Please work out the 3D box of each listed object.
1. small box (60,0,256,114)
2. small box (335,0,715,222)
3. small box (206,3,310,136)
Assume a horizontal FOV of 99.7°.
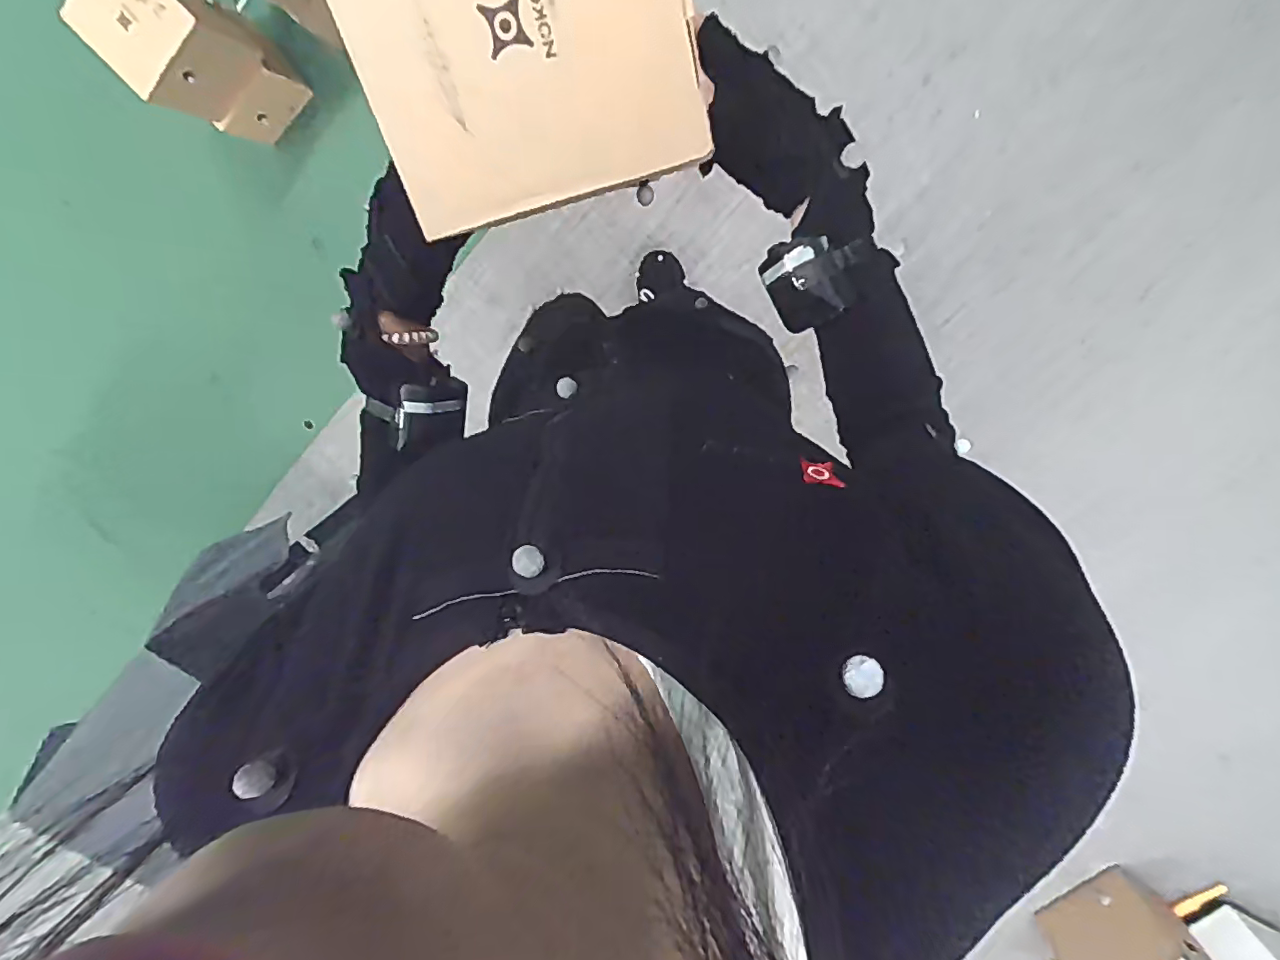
[{"bbox_3d":[-0.851,-0.808,0.974,0.179,0.176,0.168,-38,106,16],"label":"small box"},{"bbox_3d":[-0.062,-0.275,0.338,0.179,0.176,0.168,-13,117,8],"label":"small box"},{"bbox_3d":[-0.845,-0.857,1.132,0.168,0.176,0.179,-37,106,15],"label":"small box"}]
